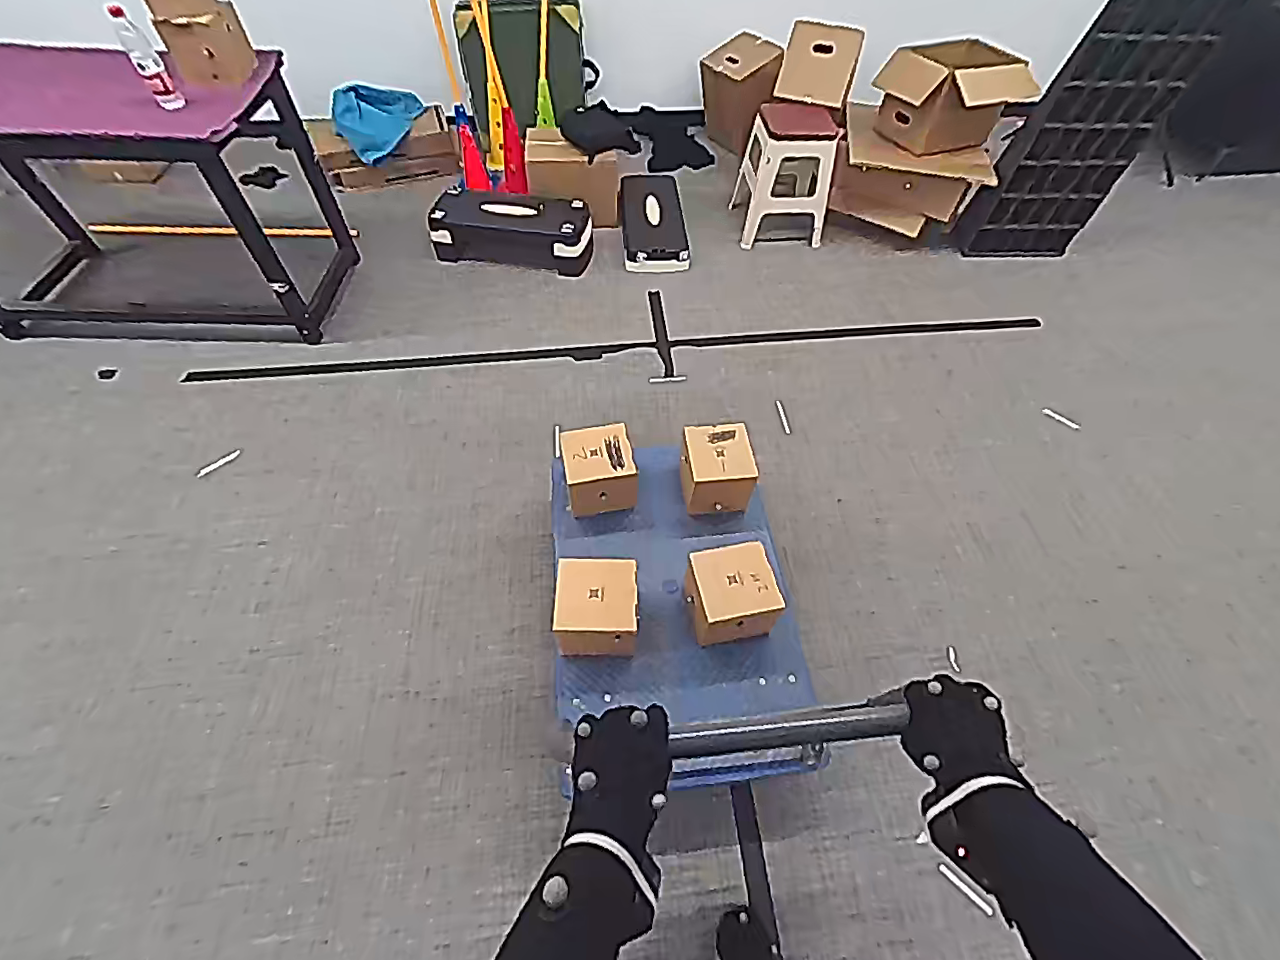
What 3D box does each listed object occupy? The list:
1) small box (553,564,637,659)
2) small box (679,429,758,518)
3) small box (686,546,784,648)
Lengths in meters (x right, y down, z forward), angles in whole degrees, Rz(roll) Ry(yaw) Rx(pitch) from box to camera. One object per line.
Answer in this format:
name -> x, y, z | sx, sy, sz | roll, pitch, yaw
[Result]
small box -> -0.096, 0.302, 1.227 | 0.179, 0.176, 0.168 | 1, 55, -3
small box -> 0.202, -0.016, 1.451 | 0.168, 0.176, 0.179 | -5, 57, -4
small box -> 0.209, 0.276, 1.254 | 0.179, 0.176, 0.168 | -9, 57, -8
